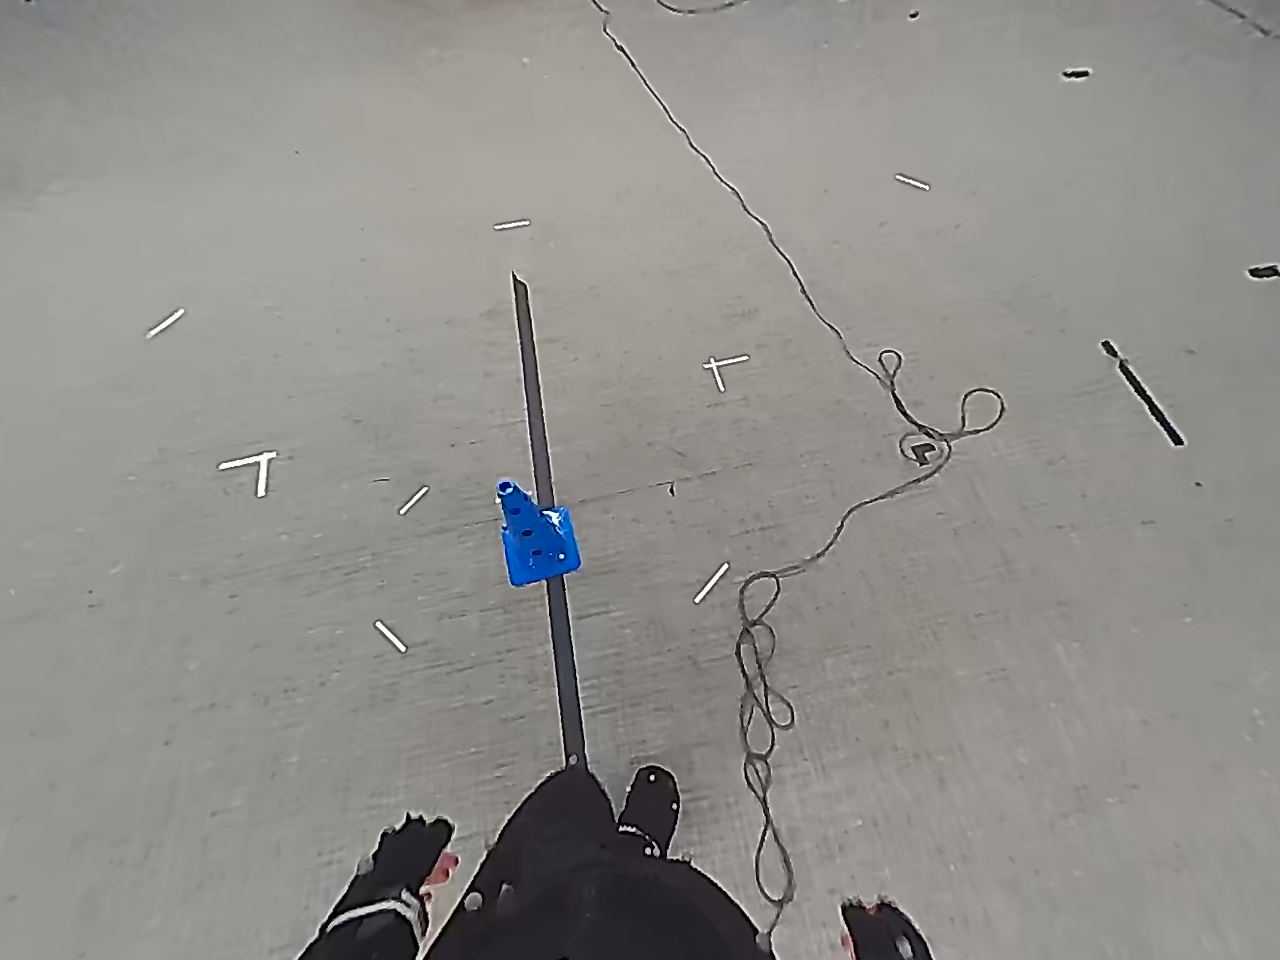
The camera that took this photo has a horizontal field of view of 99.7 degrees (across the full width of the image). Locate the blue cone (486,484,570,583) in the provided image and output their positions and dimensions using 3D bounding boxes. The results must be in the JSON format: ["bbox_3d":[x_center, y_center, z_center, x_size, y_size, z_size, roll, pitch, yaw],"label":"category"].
[{"bbox_3d":[-0.308,0.106,1.372,0.192,0.380,0.193,-14,62,-4],"label":"blue cone"}]
